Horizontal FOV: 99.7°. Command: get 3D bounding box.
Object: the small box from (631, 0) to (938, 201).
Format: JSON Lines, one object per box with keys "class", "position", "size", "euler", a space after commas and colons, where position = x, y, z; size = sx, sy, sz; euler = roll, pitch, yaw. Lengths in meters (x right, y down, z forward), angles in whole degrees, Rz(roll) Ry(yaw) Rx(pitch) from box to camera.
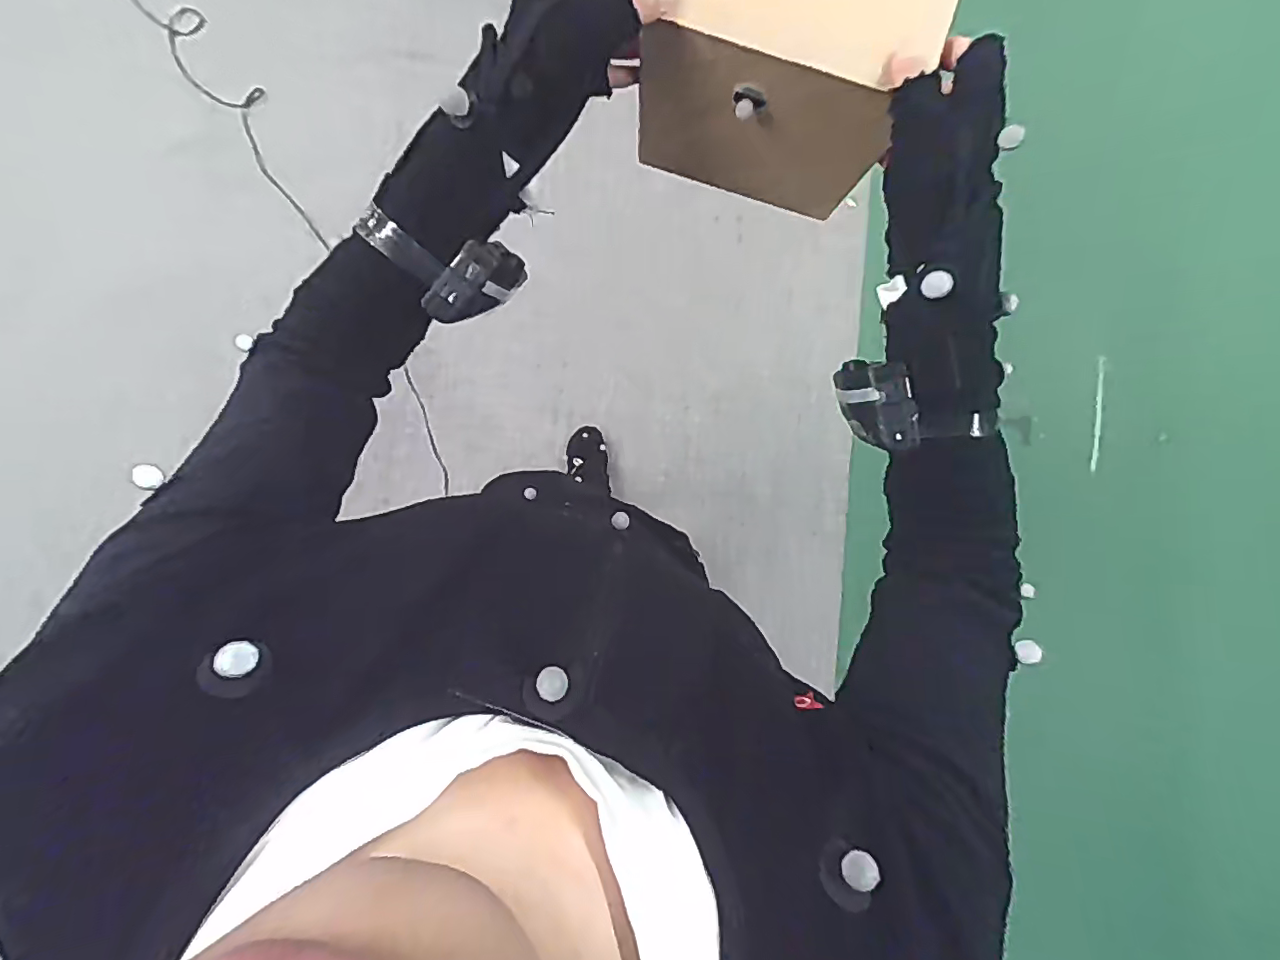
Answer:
{"class": "small box", "position": [0.098, -0.333, 0.390], "size": [0.179, 0.176, 0.168], "euler": [16, 94, -1]}
